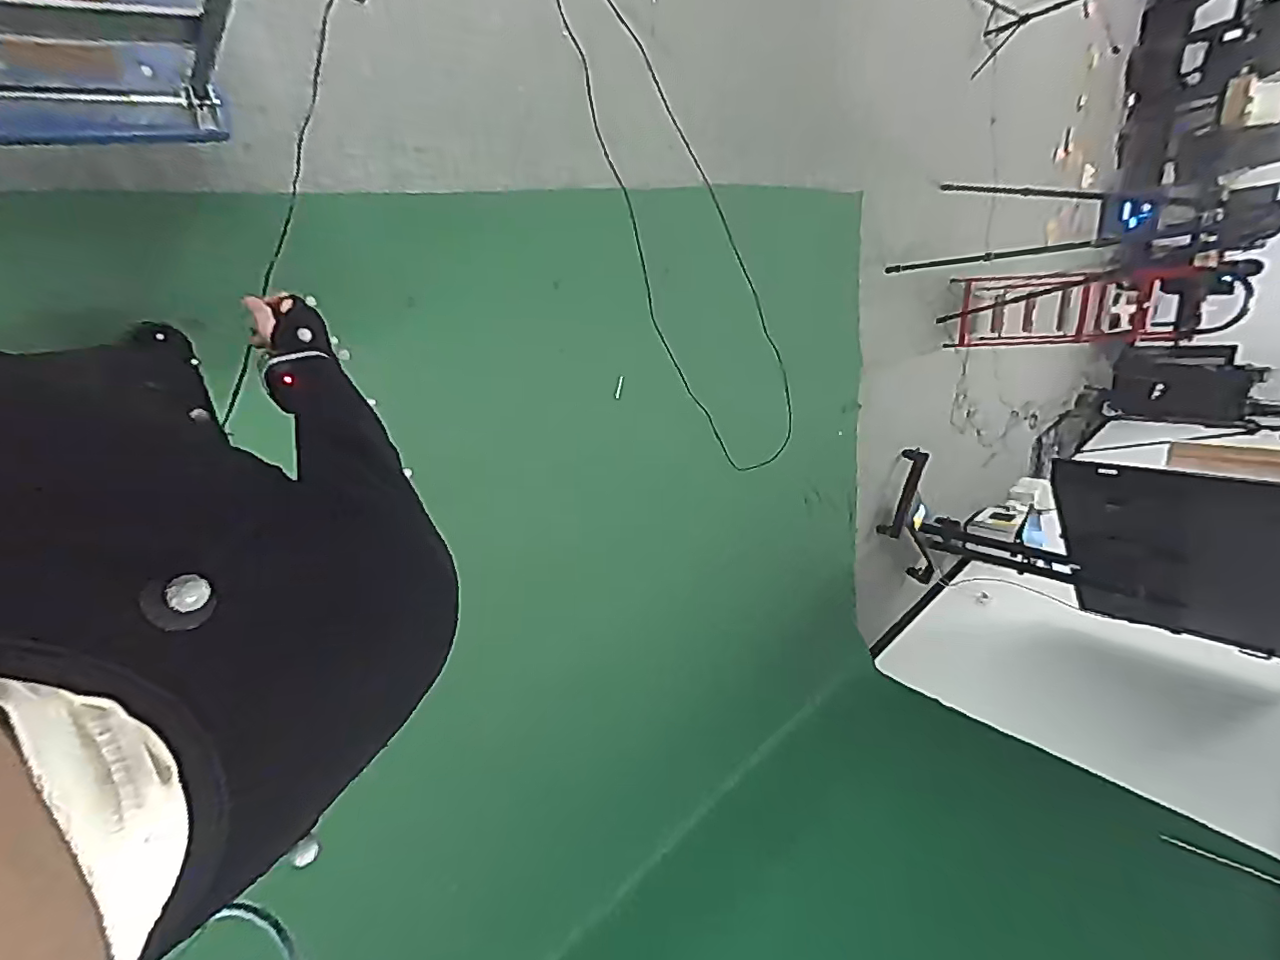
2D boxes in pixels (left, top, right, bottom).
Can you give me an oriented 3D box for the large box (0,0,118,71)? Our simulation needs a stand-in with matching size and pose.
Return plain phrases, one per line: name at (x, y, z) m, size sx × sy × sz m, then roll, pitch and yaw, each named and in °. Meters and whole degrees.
large box at (-1.009, -0.853, 0.731) m, size 0.320 × 0.320 × 0.408 m, roll -24°, pitch 114°, yaw -35°
